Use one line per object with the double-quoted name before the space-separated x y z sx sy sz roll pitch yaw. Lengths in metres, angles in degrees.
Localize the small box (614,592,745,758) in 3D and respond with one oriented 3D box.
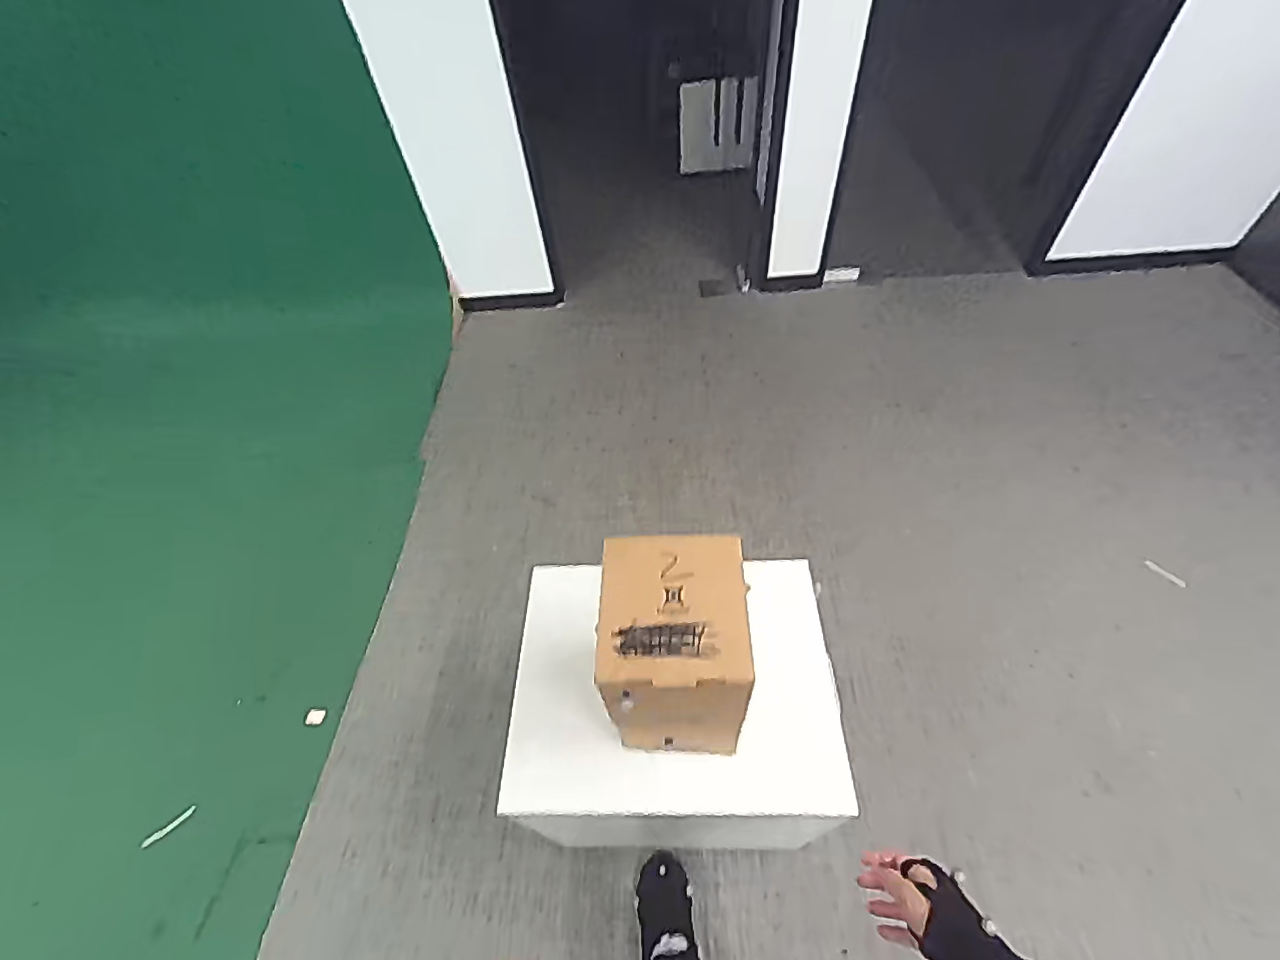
"small box" 0.058 0.282 0.781 0.168 0.176 0.179 1 51 5
